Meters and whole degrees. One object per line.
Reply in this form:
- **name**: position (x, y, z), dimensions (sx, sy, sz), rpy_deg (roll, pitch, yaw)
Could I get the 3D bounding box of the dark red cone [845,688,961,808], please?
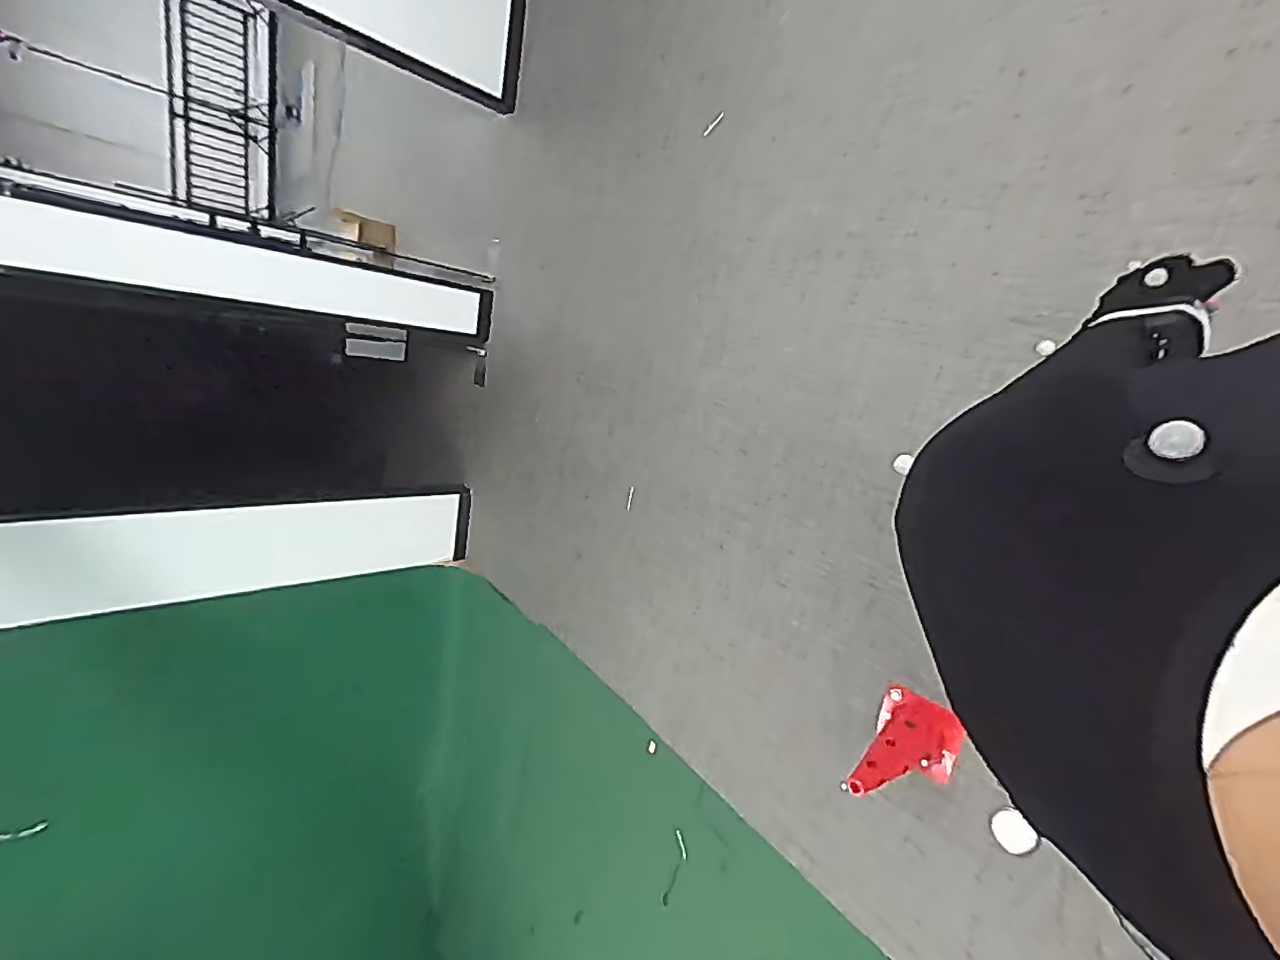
- **dark red cone**: position (0.610, 0.690, 1.324), dimensions (0.202, 0.394, 0.201), rpy_deg (19, 107, 45)
